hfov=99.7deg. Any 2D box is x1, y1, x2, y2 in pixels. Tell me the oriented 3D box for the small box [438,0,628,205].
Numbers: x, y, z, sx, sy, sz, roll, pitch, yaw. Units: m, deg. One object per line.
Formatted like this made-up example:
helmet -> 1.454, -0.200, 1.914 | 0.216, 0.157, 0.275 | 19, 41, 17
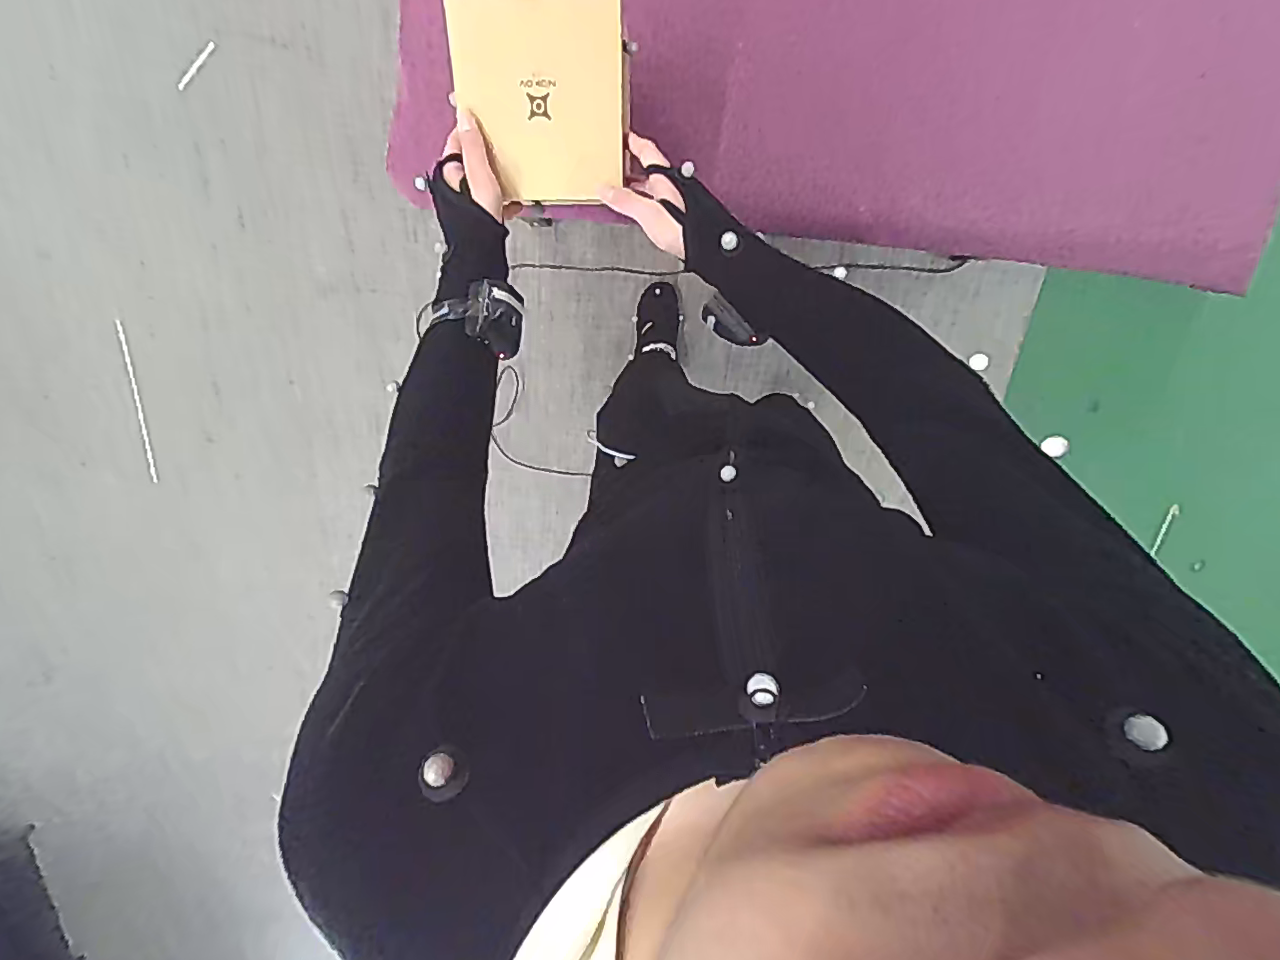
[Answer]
small box -> -0.101, -0.405, 0.599 | 0.168, 0.176, 0.179 | 0, 115, 2
